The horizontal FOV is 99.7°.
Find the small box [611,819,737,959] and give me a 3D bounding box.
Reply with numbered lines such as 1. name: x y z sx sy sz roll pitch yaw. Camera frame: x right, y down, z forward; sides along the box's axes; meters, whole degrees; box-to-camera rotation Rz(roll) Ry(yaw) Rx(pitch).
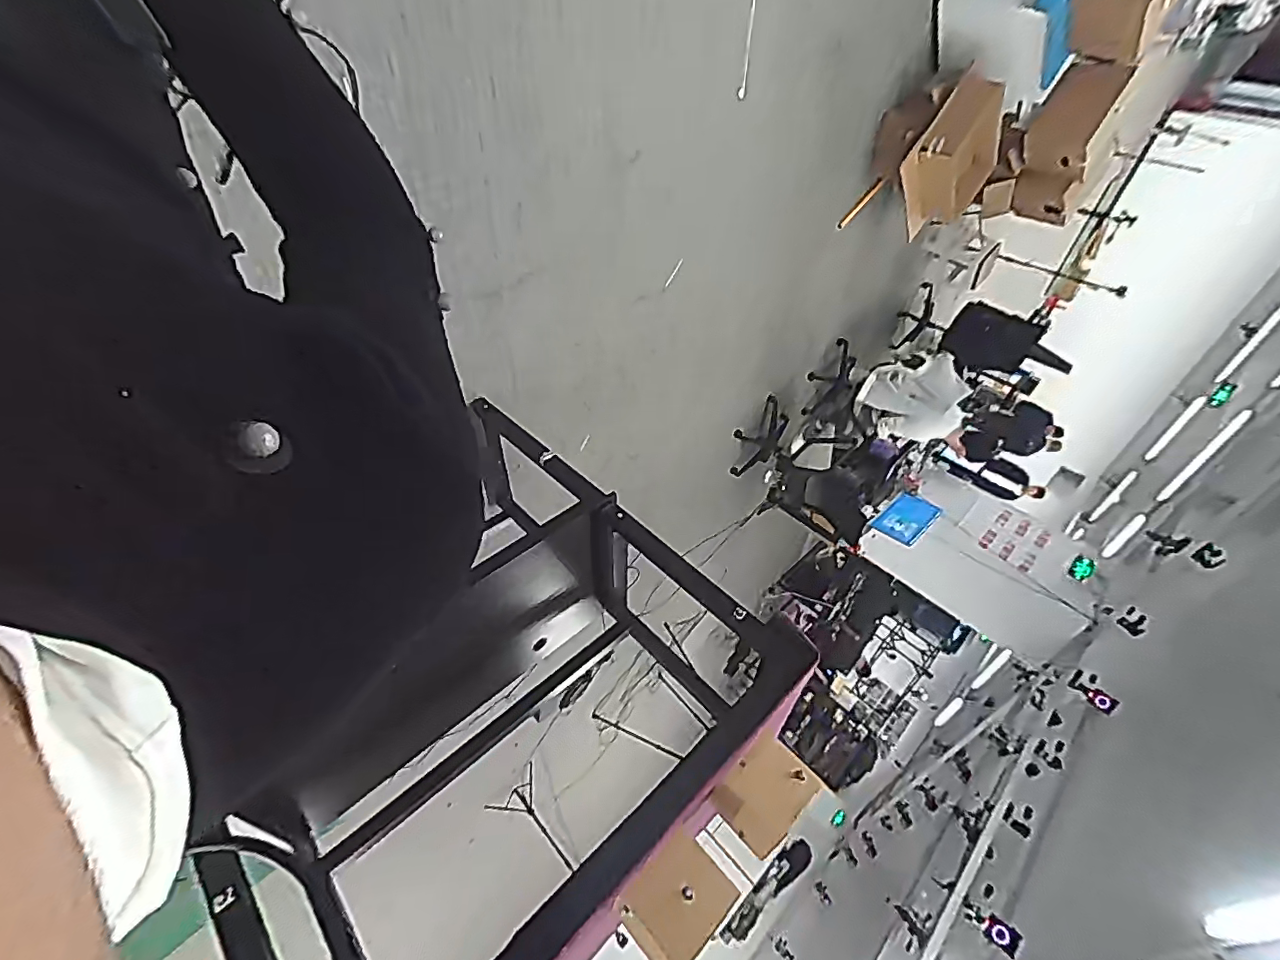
1. small box: 0.060 0.827 1.072 0.179 0.176 0.168 -30 144 -35
